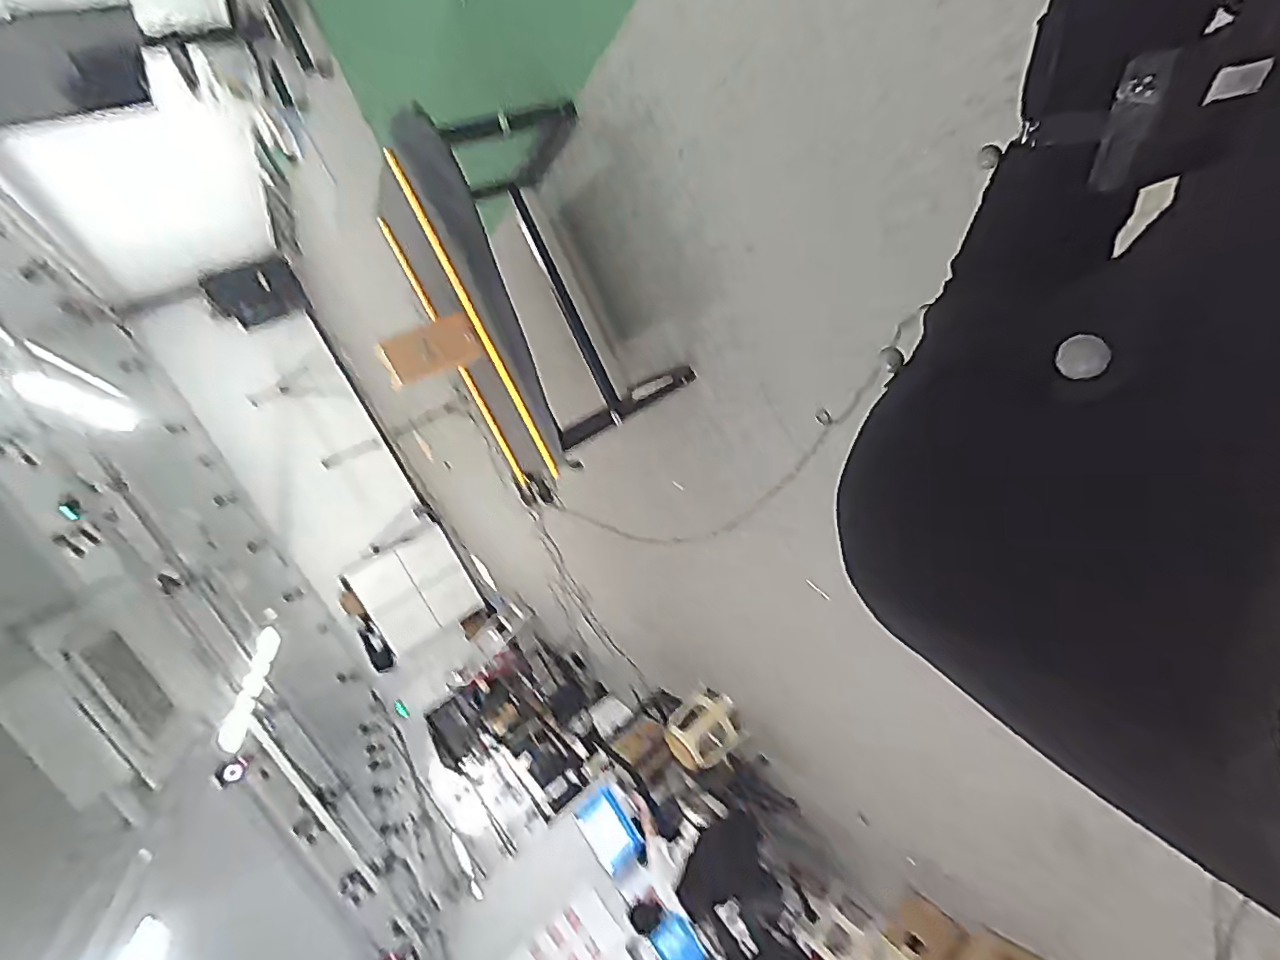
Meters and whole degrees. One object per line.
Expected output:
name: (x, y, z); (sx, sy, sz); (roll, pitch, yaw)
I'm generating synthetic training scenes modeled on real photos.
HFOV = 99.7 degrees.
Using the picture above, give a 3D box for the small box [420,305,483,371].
small box: (-0.710, -0.527, 2.013); (0.179, 0.176, 0.168); (-6, 115, 59)

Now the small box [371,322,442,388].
small box: (-0.836, -0.447, 1.943); (0.179, 0.176, 0.168); (2, 122, 58)
